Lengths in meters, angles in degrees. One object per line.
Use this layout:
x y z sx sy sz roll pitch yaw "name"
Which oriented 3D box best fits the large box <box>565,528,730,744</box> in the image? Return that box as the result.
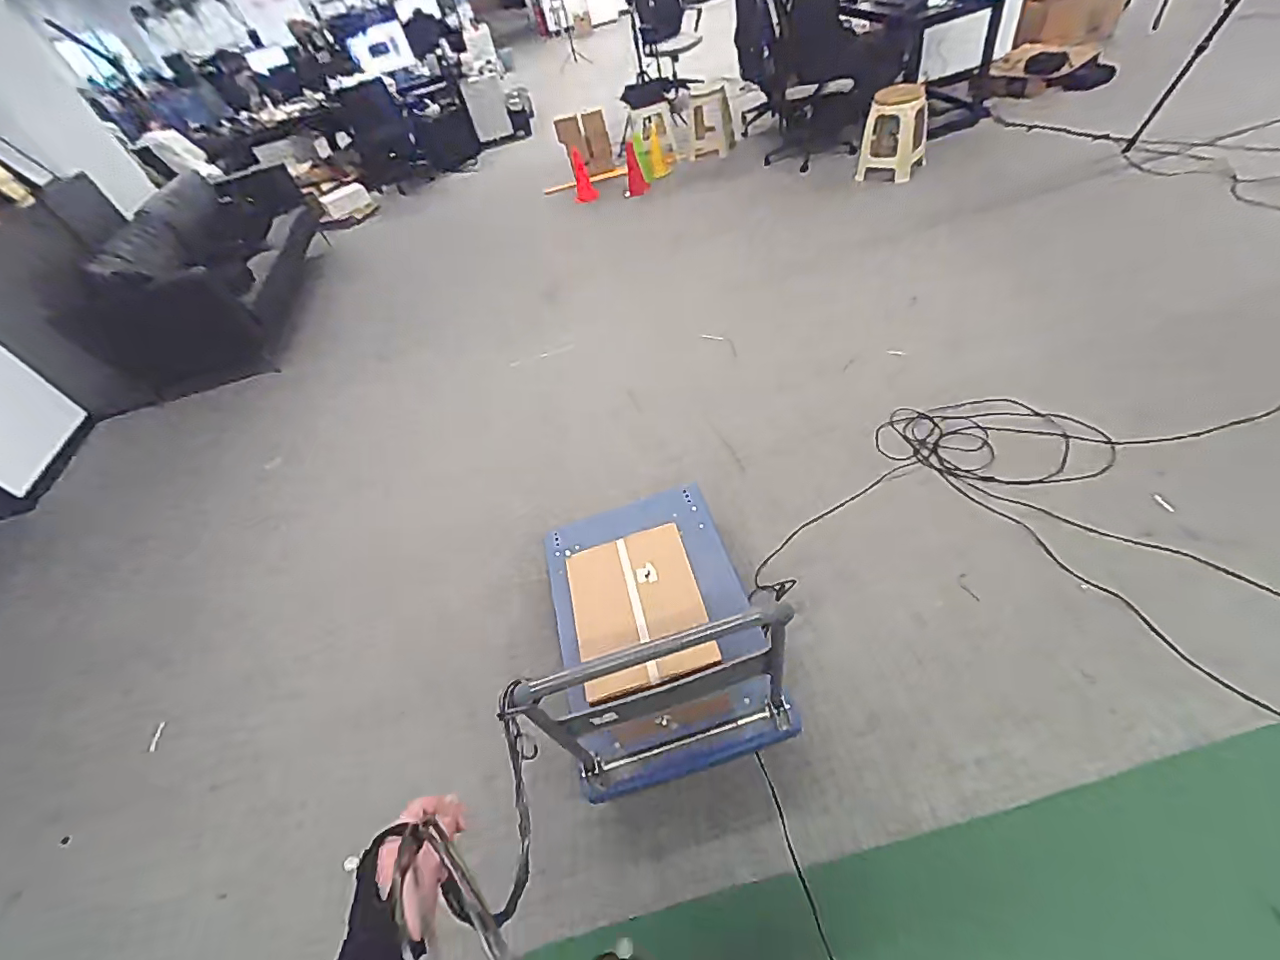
0.018 0.409 1.429 0.320 0.320 0.408 -17 46 0 "large box"
